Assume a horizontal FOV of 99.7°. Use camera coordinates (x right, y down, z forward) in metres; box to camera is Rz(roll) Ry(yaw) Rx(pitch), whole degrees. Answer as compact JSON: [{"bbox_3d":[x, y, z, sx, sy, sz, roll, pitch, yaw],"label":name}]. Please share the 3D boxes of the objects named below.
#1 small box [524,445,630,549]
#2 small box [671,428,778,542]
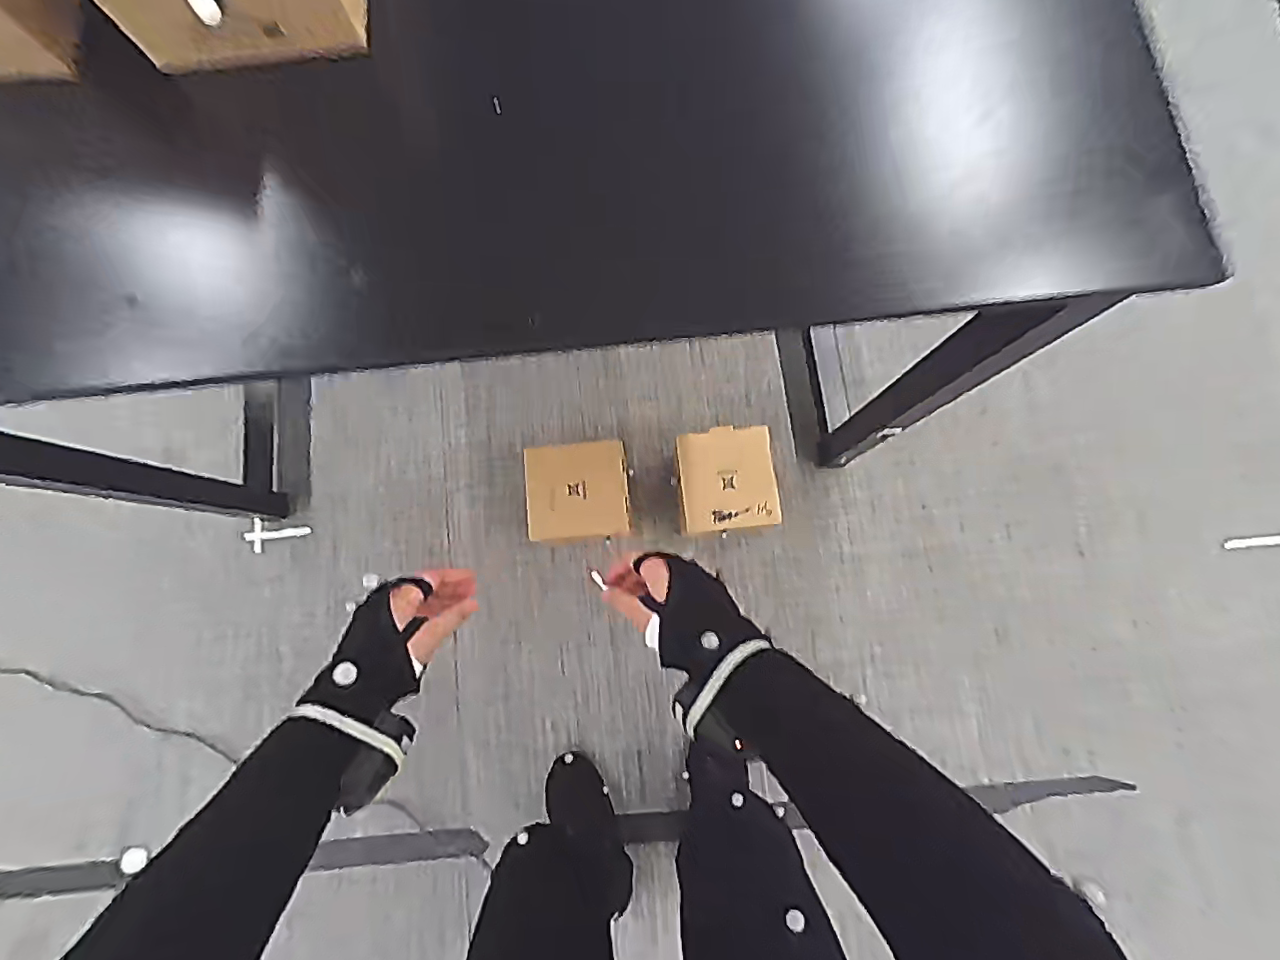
[{"bbox_3d":[-0.112,0.038,1.025,0.179,0.176,0.168,-6,79,1],"label":"small box"},{"bbox_3d":[0.150,0.015,1.021,0.168,0.176,0.179,-7,79,1],"label":"small box"}]
